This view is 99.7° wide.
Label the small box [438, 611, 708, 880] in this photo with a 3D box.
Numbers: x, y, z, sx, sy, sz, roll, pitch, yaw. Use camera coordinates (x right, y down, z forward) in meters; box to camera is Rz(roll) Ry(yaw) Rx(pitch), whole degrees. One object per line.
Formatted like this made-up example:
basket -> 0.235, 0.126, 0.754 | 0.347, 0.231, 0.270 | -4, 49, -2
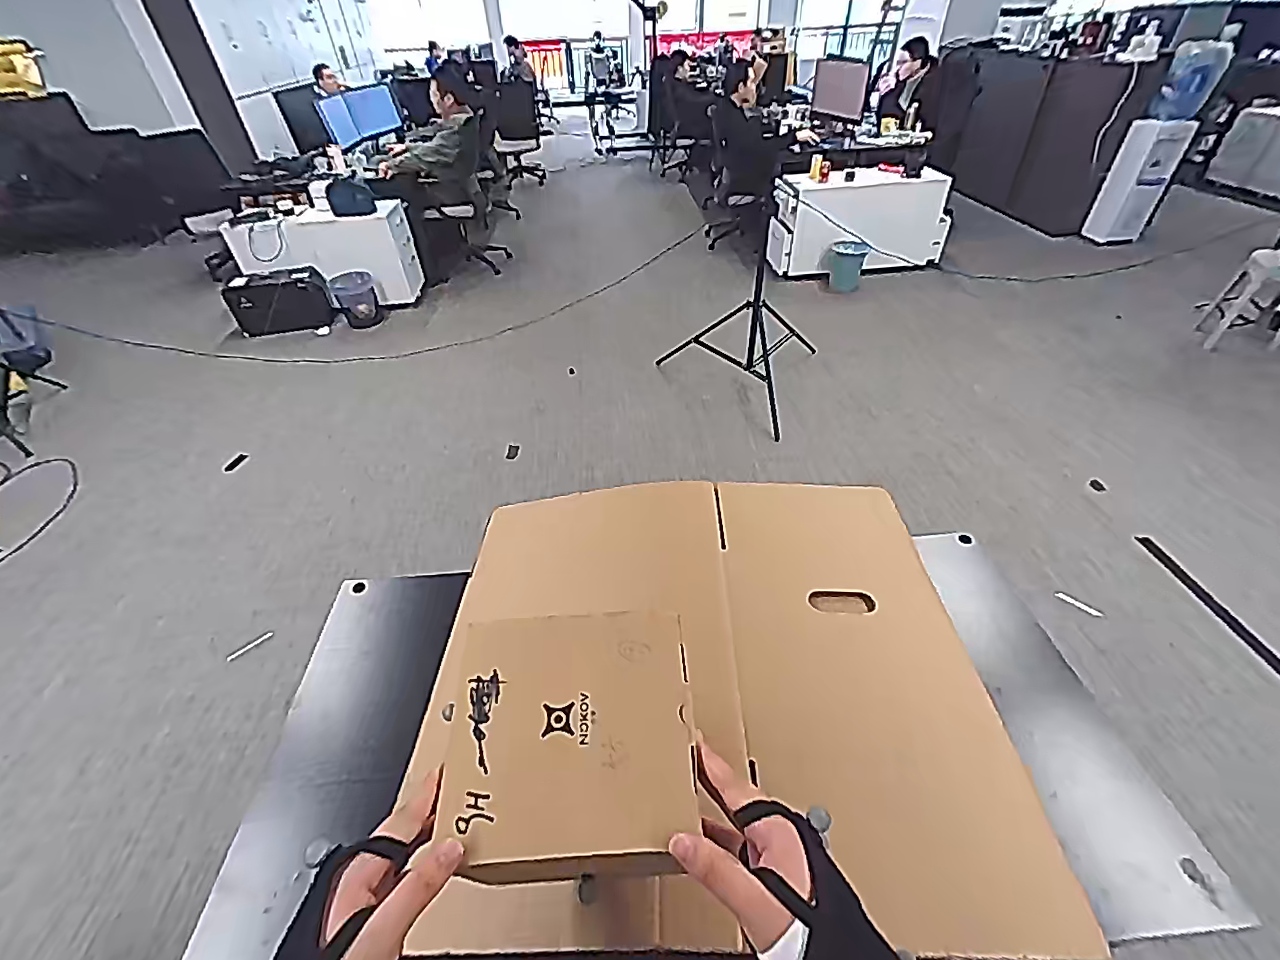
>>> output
small box -> -0.046, 0.226, 0.457 | 0.179, 0.176, 0.168 | -3, 48, -2
